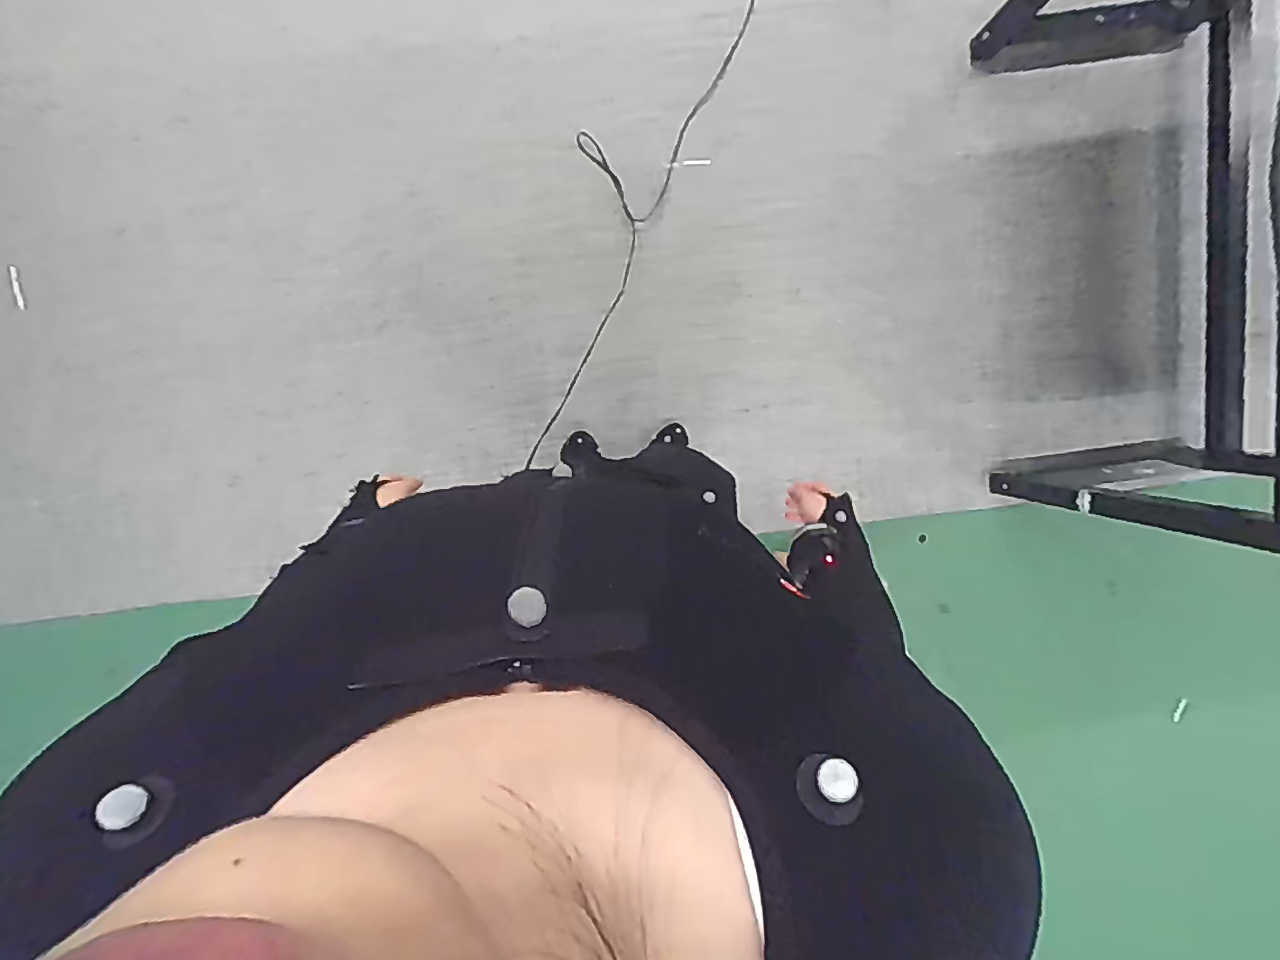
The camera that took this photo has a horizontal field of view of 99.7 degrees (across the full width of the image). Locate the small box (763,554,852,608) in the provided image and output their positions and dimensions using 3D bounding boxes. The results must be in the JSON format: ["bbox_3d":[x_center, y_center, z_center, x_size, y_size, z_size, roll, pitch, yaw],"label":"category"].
[{"bbox_3d":[0.441,0.309,1.449,0.168,0.176,0.179,10,97,-2],"label":"small box"}]

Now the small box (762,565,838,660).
[{"bbox_3d":[0.413,0.326,1.287,0.168,0.176,0.179,30,96,-3],"label":"small box"}]
